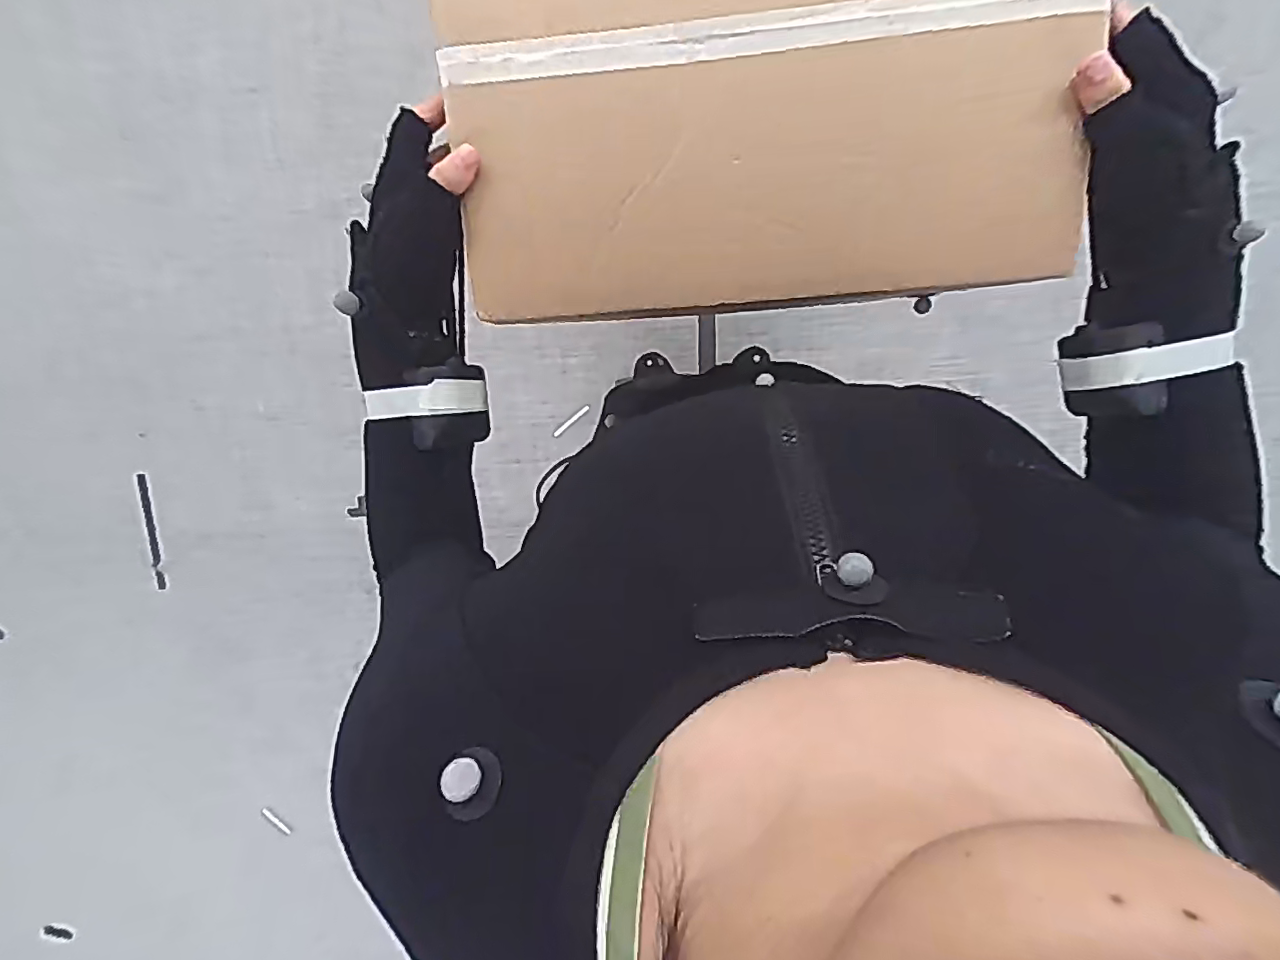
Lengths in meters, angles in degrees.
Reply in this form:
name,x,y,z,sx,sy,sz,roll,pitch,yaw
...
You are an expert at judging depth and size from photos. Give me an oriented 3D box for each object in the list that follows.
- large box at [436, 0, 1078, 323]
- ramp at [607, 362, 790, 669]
name,x,y,z,sx,sy,sz,roll,pitch,yaw
large box,0.077,-0.320,0.484,0.408,0.320,0.320,-4,106,3
ramp,0.183,0.157,1.614,0.509,0.206,0.991,-4,102,2
